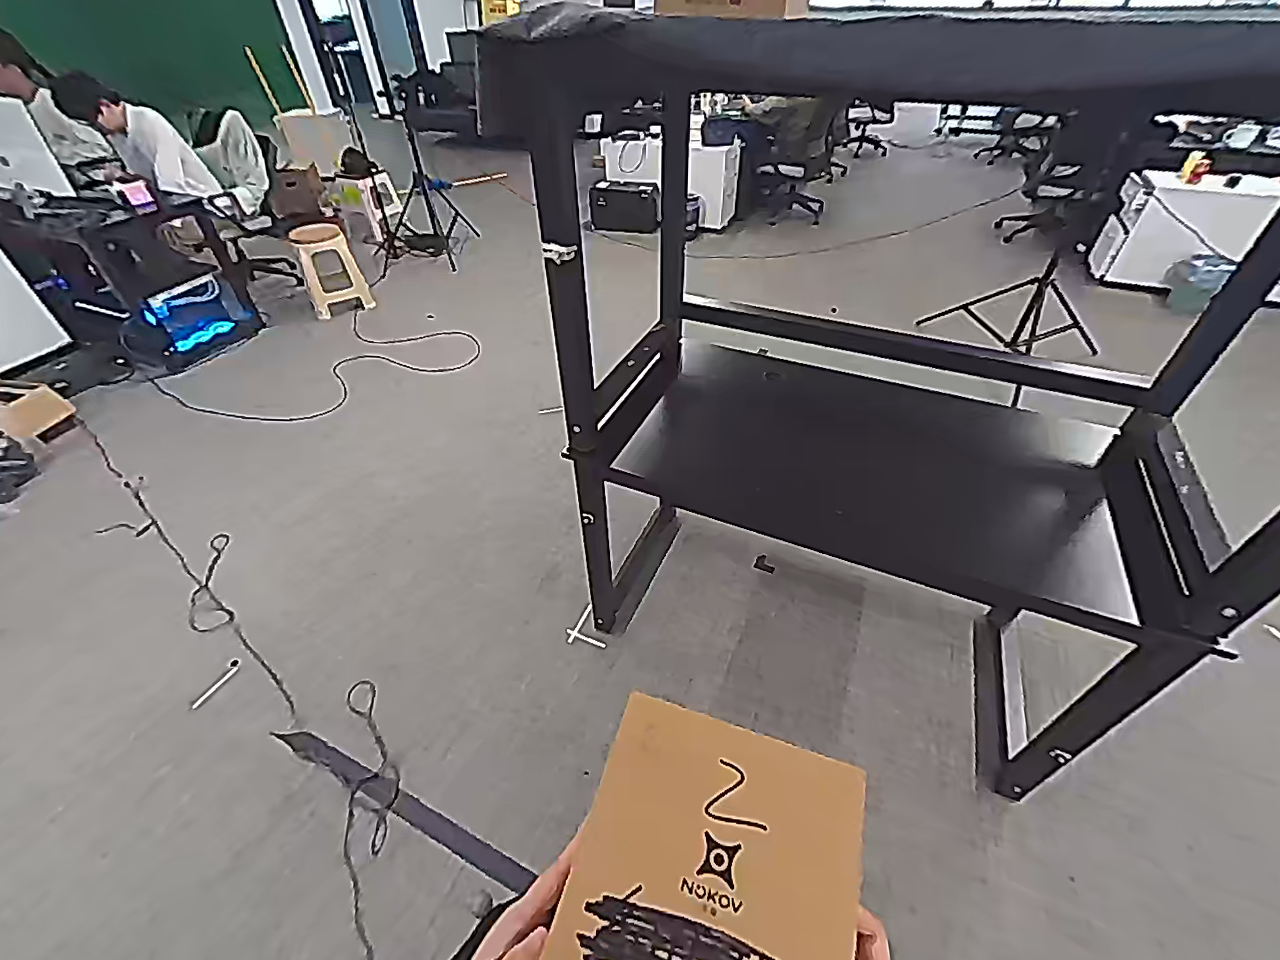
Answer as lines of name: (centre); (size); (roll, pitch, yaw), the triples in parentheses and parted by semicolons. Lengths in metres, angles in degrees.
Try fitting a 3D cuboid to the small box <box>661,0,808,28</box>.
small box: (0.127, -0.667, 0.662); (0.168, 0.176, 0.179); (16, 43, 16)
